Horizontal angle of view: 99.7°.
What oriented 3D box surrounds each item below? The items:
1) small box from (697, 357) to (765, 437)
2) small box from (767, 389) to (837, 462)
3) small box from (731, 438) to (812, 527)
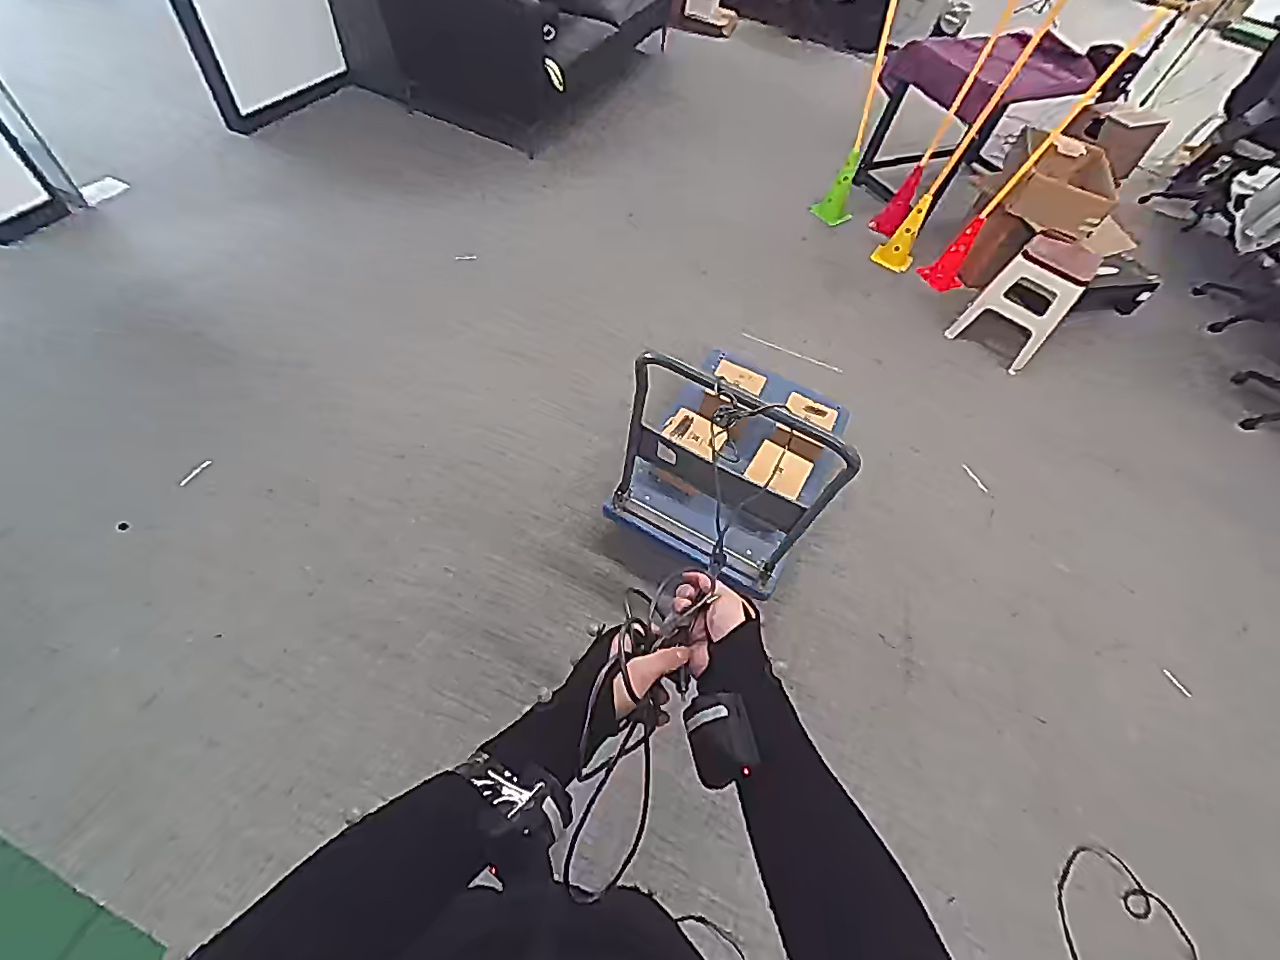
[{"bbox_3d":[0.304,-0.278,1.842,0.168,0.176,0.179,25,57,8],"label":"small box"},{"bbox_3d":[0.526,-0.161,1.795,0.168,0.176,0.179,26,58,11],"label":"small box"},{"bbox_3d":[0.399,0.010,1.667,0.168,0.176,0.179,30,58,12],"label":"small box"}]
